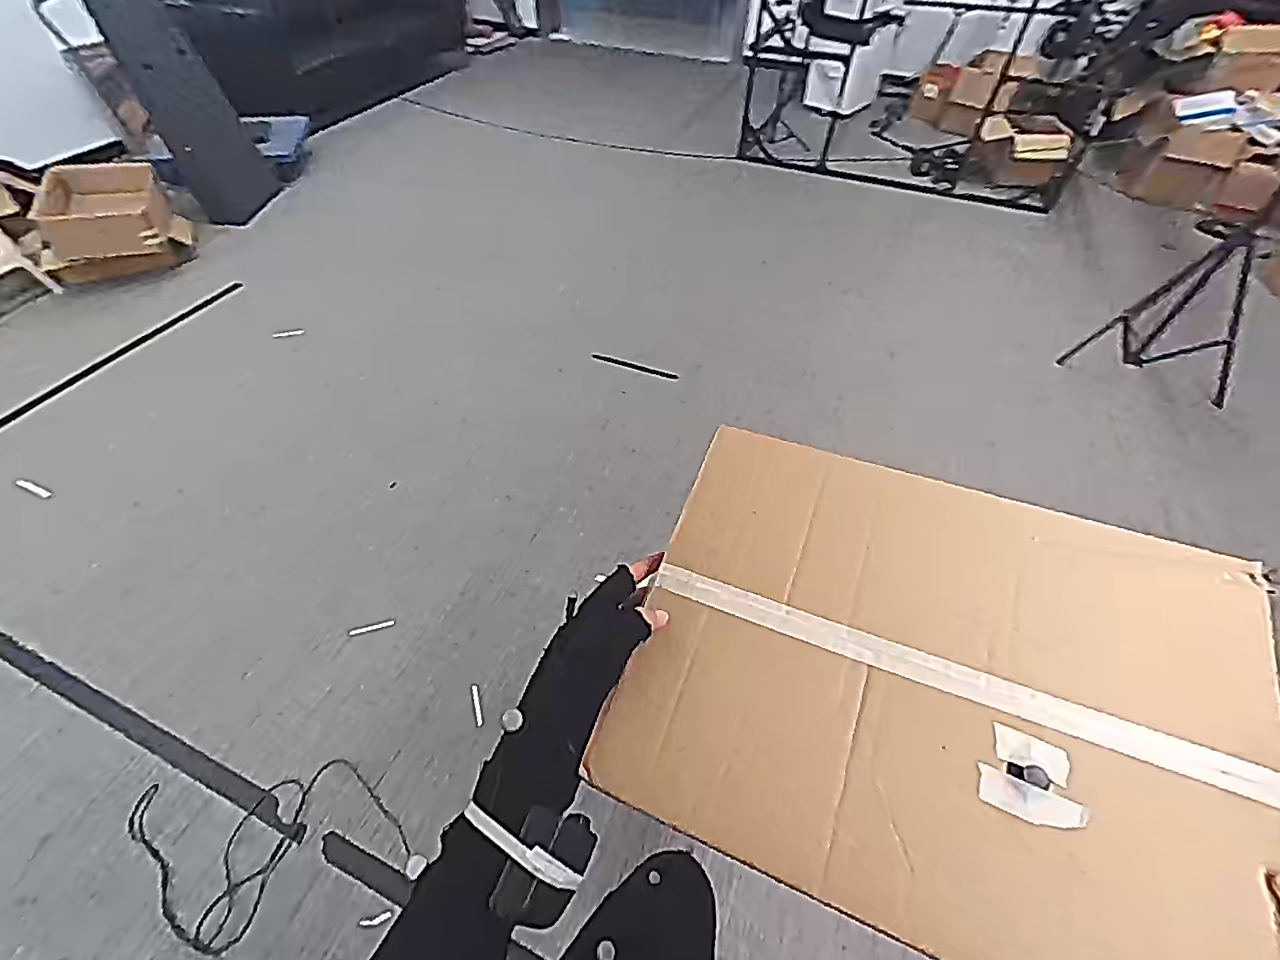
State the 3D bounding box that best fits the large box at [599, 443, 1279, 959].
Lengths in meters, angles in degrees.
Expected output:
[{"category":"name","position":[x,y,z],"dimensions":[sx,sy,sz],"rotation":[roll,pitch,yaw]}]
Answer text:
[{"category":"large box","position":[0.222,0.214,0.521],"dimensions":[0.408,0.320,0.320],"rotation":[17,64,17]}]
